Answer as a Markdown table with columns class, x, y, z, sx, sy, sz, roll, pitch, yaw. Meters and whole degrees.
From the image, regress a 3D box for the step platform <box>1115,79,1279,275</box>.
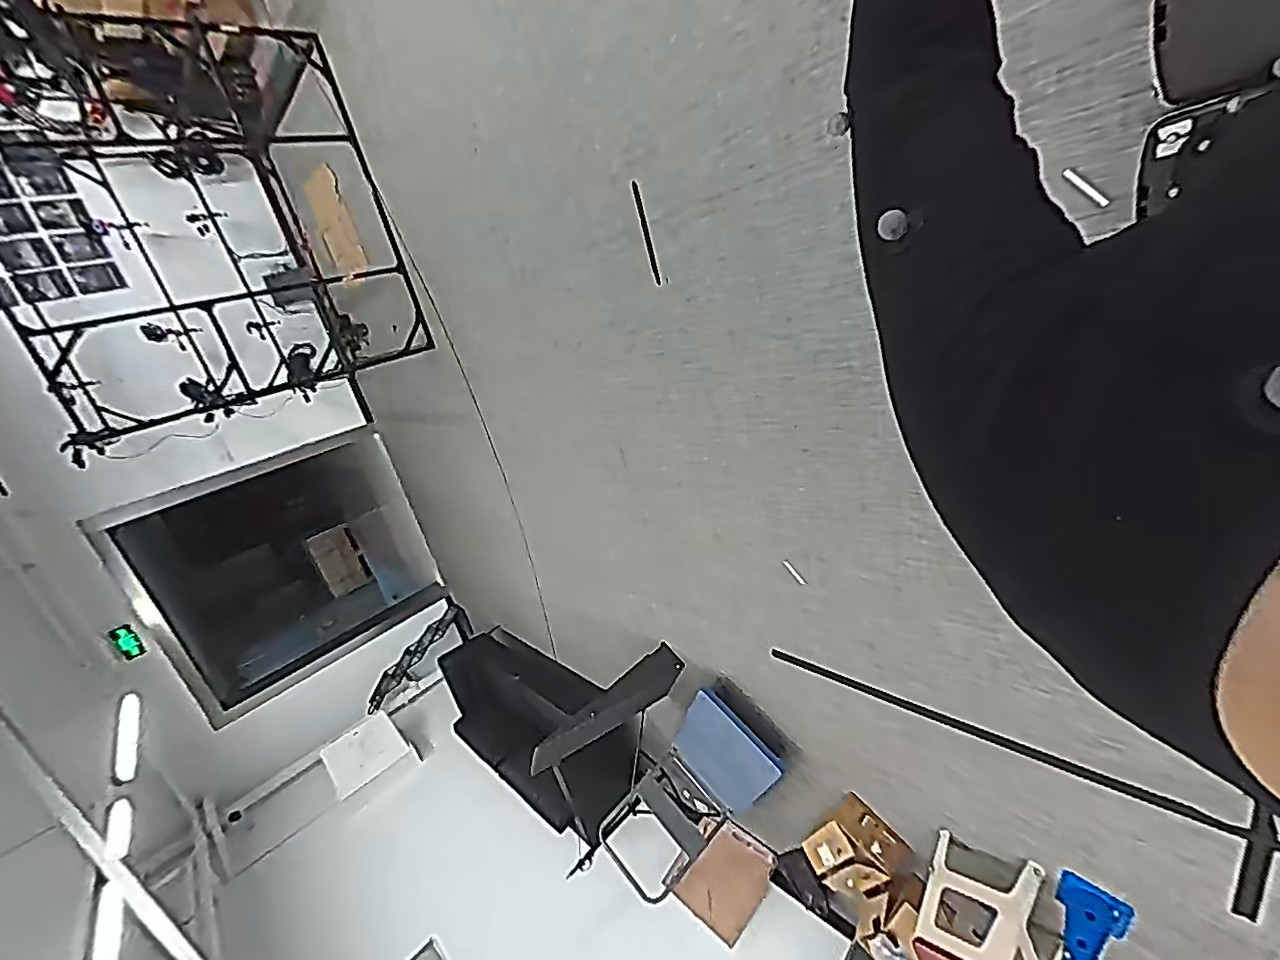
| class | x | y | z | sx | sy | sz | roll | pitch | yaw |
| --- | --- | --- | --- | --- | --- | --- | --- | --- | --- |
| step platform | 1.218 | -0.548 | 0.869 | 0.684 | 0.204 | 0.286 | 6 | 118 | 50 |
